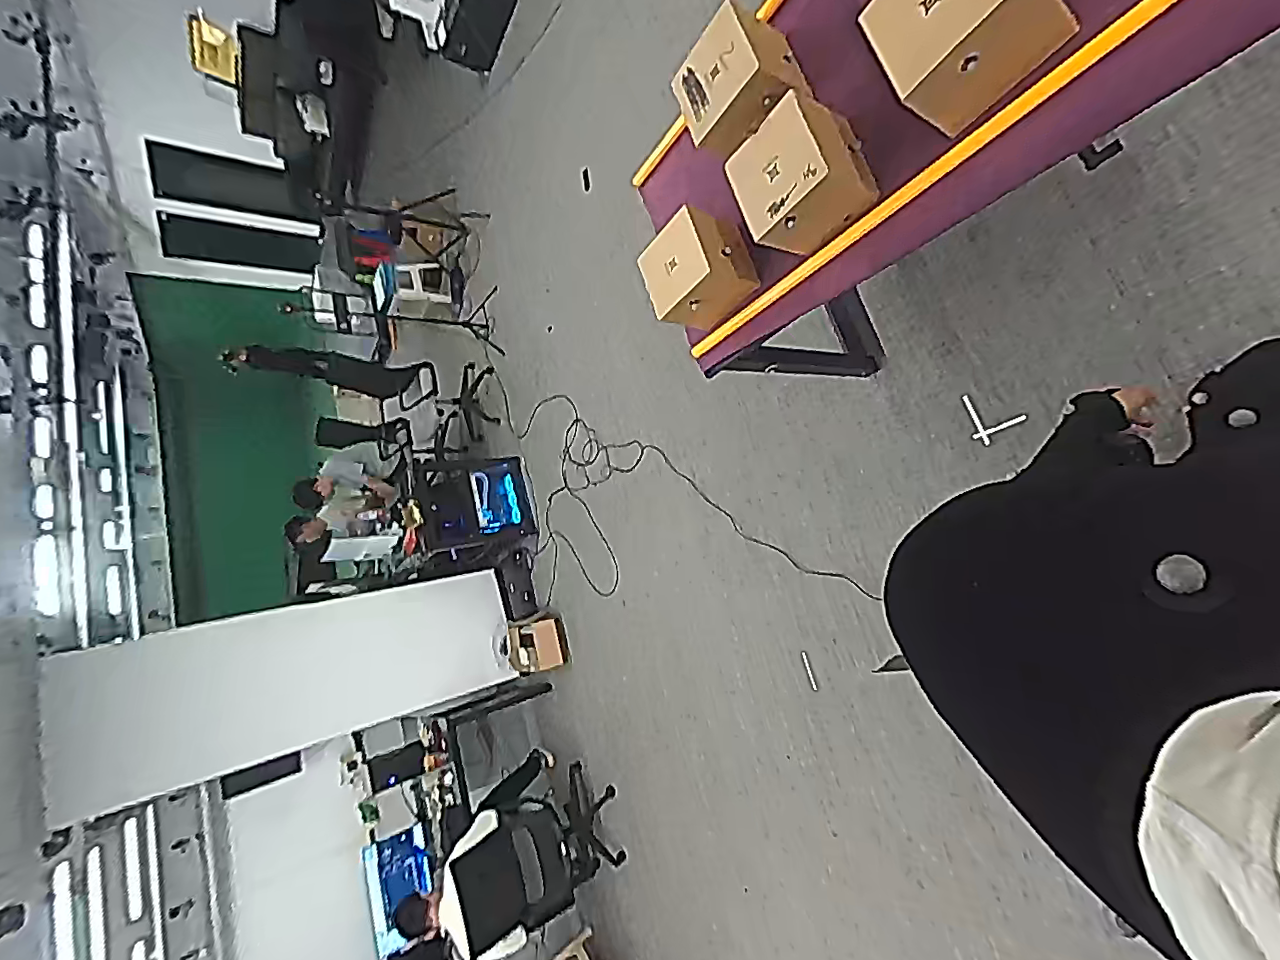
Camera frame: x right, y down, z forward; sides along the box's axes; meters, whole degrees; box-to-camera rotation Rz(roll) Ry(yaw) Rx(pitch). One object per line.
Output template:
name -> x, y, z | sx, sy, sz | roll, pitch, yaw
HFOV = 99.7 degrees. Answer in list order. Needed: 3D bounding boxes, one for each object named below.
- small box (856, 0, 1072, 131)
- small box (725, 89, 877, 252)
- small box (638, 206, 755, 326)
small box -> 0.445, -0.634, 0.751 | 0.179, 0.176, 0.168 | -33, 68, 49
small box -> 0.288, -0.540, 0.971 | 0.168, 0.176, 0.179 | -32, 70, 50
small box -> 0.129, -0.458, 1.187 | 0.179, 0.176, 0.168 | -33, 69, 48
